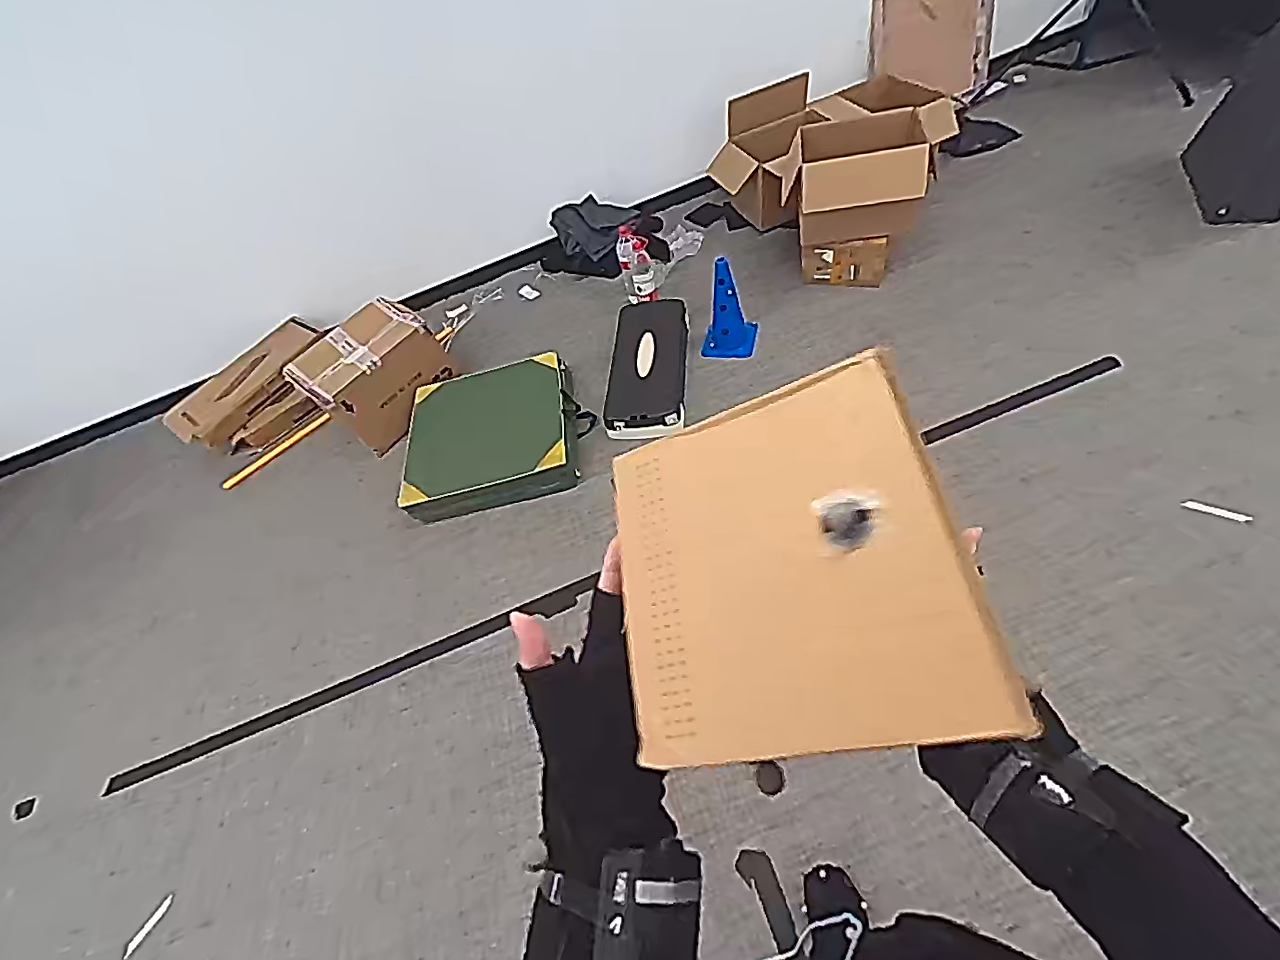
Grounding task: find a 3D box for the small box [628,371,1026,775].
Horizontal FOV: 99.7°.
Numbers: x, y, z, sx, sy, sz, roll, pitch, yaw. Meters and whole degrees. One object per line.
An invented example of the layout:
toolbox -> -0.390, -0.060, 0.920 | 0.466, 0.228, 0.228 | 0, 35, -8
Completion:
small box -> 0.104, 0.072, 0.335 | 0.176, 0.168, 0.179 | -21, 59, 26
